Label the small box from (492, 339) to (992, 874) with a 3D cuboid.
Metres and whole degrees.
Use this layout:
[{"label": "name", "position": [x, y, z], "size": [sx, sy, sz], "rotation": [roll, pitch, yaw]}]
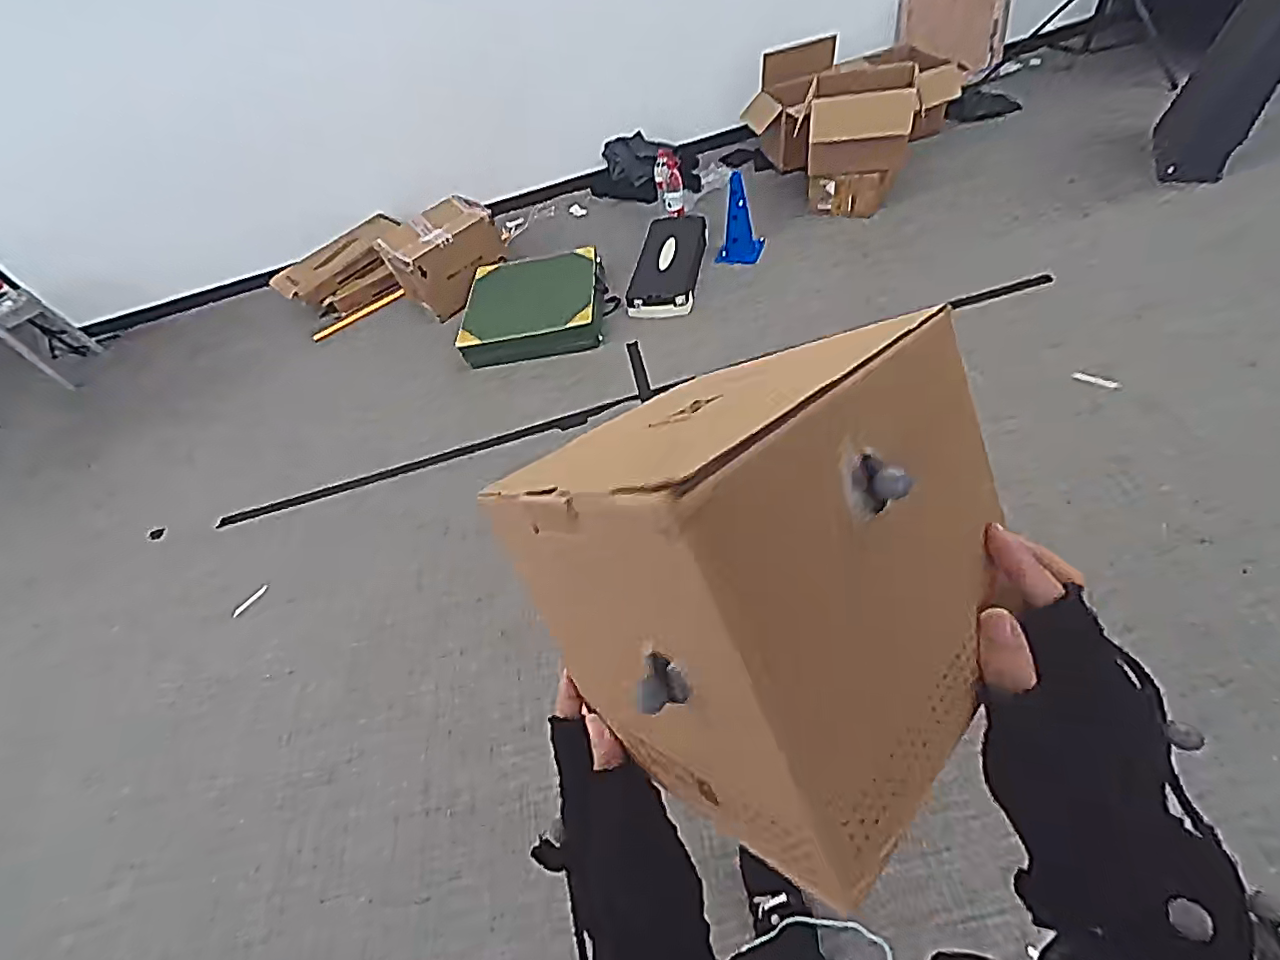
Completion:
[{"label": "small box", "position": [0.055, 0.050, 0.292], "size": [0.179, 0.176, 0.168], "rotation": [-32, 15, -29]}]
